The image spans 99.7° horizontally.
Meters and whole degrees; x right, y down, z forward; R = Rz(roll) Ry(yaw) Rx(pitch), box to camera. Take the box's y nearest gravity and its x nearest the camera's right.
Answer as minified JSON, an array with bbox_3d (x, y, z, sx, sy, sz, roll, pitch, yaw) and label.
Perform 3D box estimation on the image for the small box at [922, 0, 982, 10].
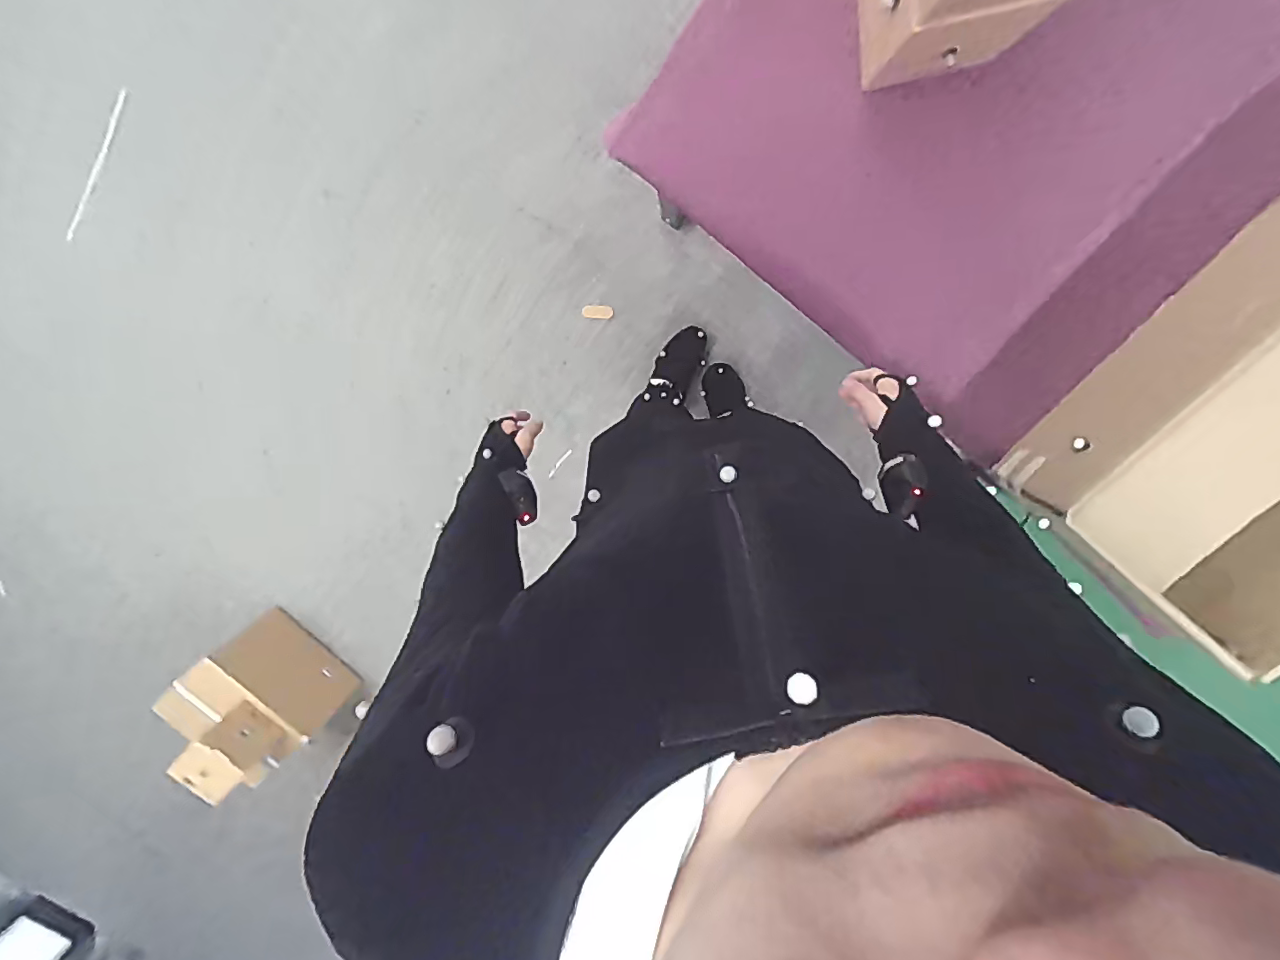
[{"bbox_3d":[0.356,-0.548,0.458,0.179,0.176,0.168,-8,108,6],"label":"small box"}]

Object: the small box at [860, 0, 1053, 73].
[{"bbox_3d":[0.359,-0.599,0.613,0.168,0.176,0.179,-9,107,6],"label":"small box"}]

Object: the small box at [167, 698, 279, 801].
[{"bbox_3d":[-1.215,0.786,1.594,0.179,0.176,0.168,-43,100,13],"label":"small box"}]
